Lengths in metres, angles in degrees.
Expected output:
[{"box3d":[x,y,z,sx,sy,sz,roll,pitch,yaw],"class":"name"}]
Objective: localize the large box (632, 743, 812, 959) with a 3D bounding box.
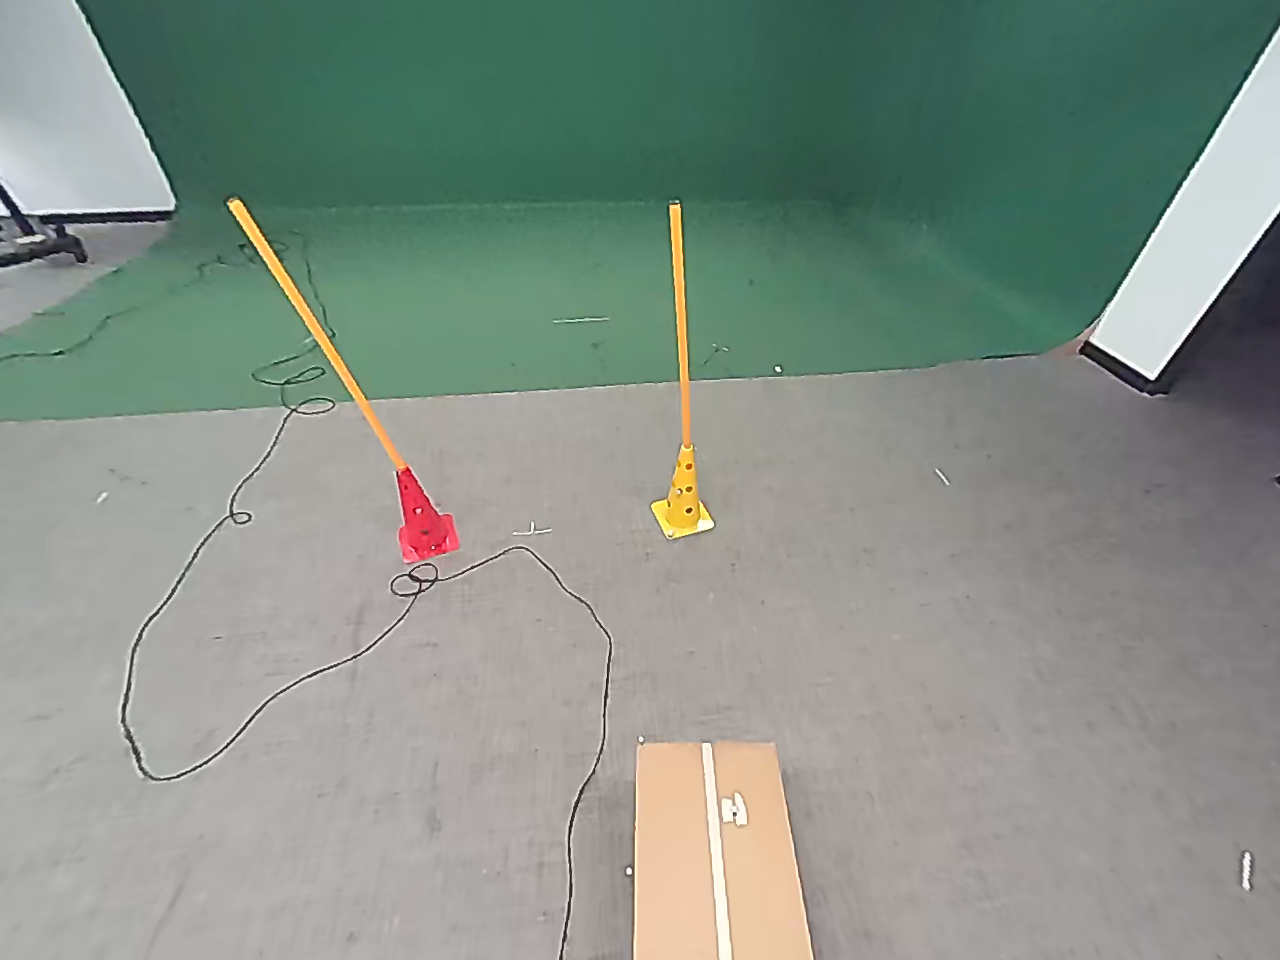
[{"box3d":[0.143,0.833,1.153,0.320,0.320,0.408,1,40,0],"class":"large box"}]
